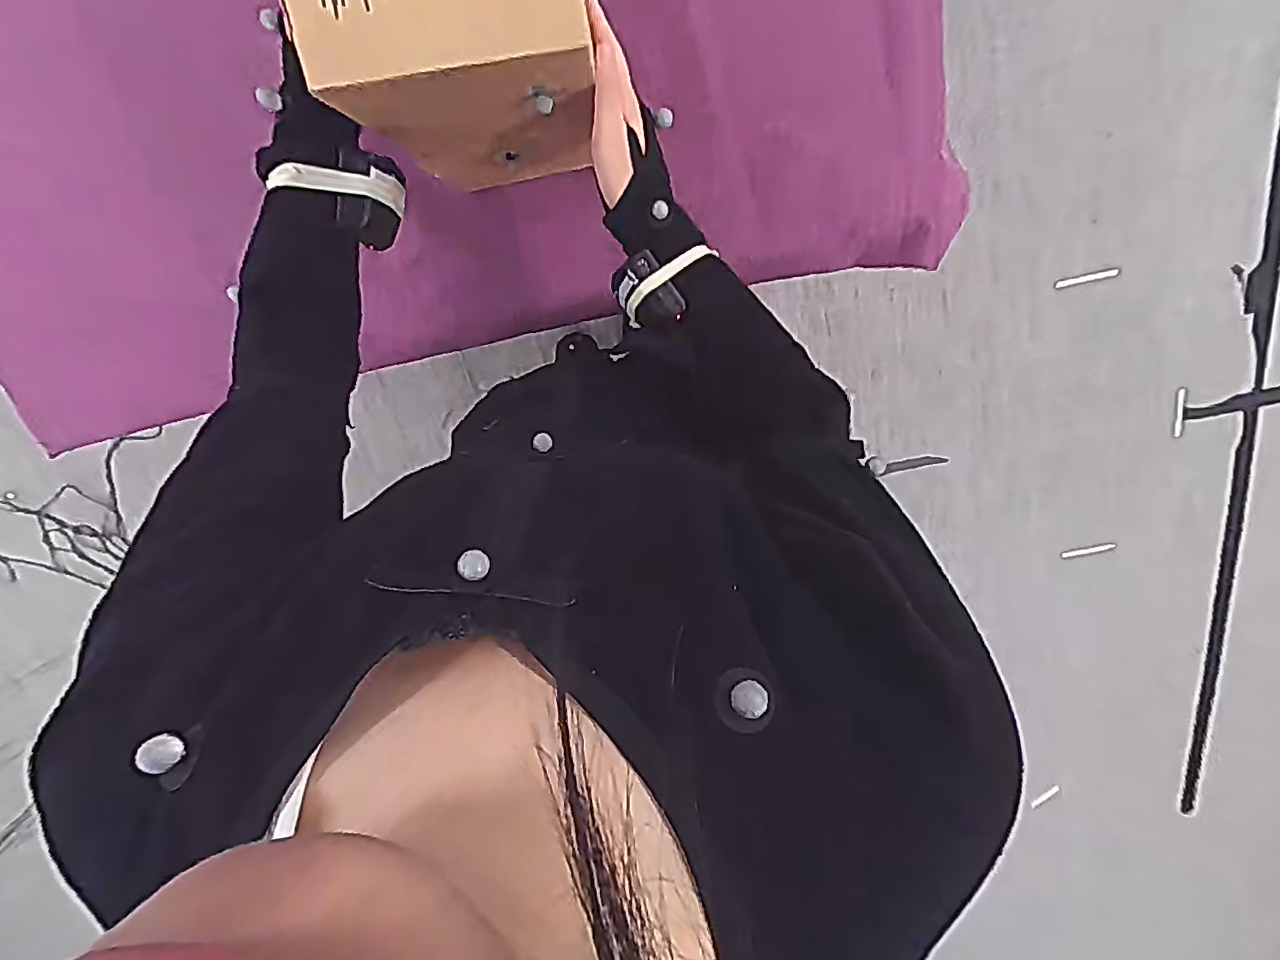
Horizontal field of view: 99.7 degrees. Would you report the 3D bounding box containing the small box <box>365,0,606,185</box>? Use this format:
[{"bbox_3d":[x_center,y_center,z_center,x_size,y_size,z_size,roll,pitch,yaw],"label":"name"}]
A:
[{"bbox_3d":[-0.135,-0.403,0.527,0.179,0.176,0.168,-10,111,2],"label":"small box"}]

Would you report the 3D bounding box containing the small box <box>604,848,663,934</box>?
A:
[{"bbox_3d":[-0.024,1.503,1.981,0.168,0.176,0.179,-22,108,5],"label":"small box"}]
